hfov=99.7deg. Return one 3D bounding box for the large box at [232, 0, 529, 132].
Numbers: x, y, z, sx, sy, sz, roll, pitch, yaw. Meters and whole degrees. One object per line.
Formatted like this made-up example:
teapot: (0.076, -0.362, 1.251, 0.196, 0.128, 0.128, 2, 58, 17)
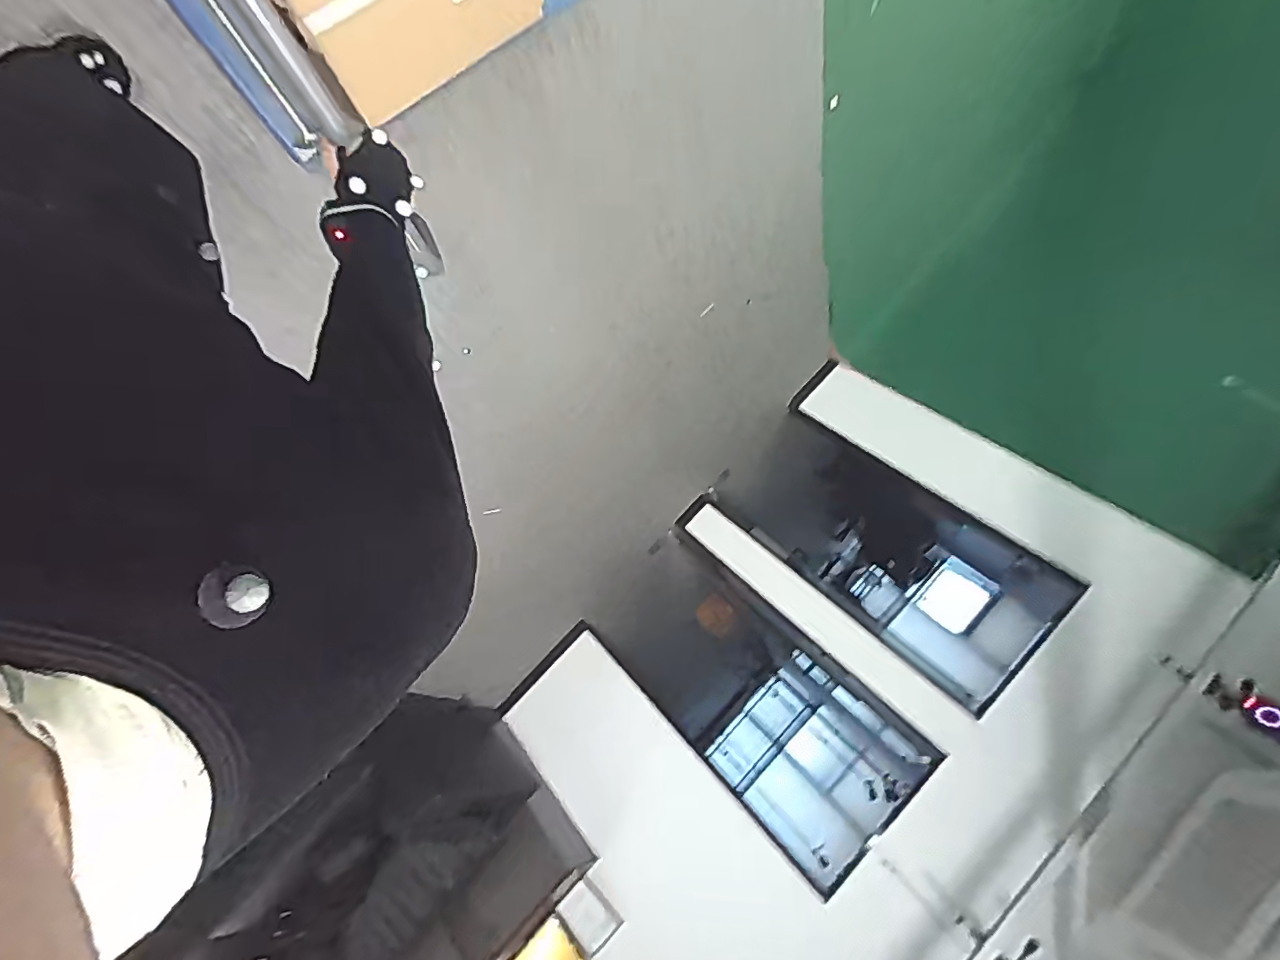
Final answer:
large box: (-0.485, -0.898, 0.937, 0.408, 0.320, 0.320, -44, 149, -11)
